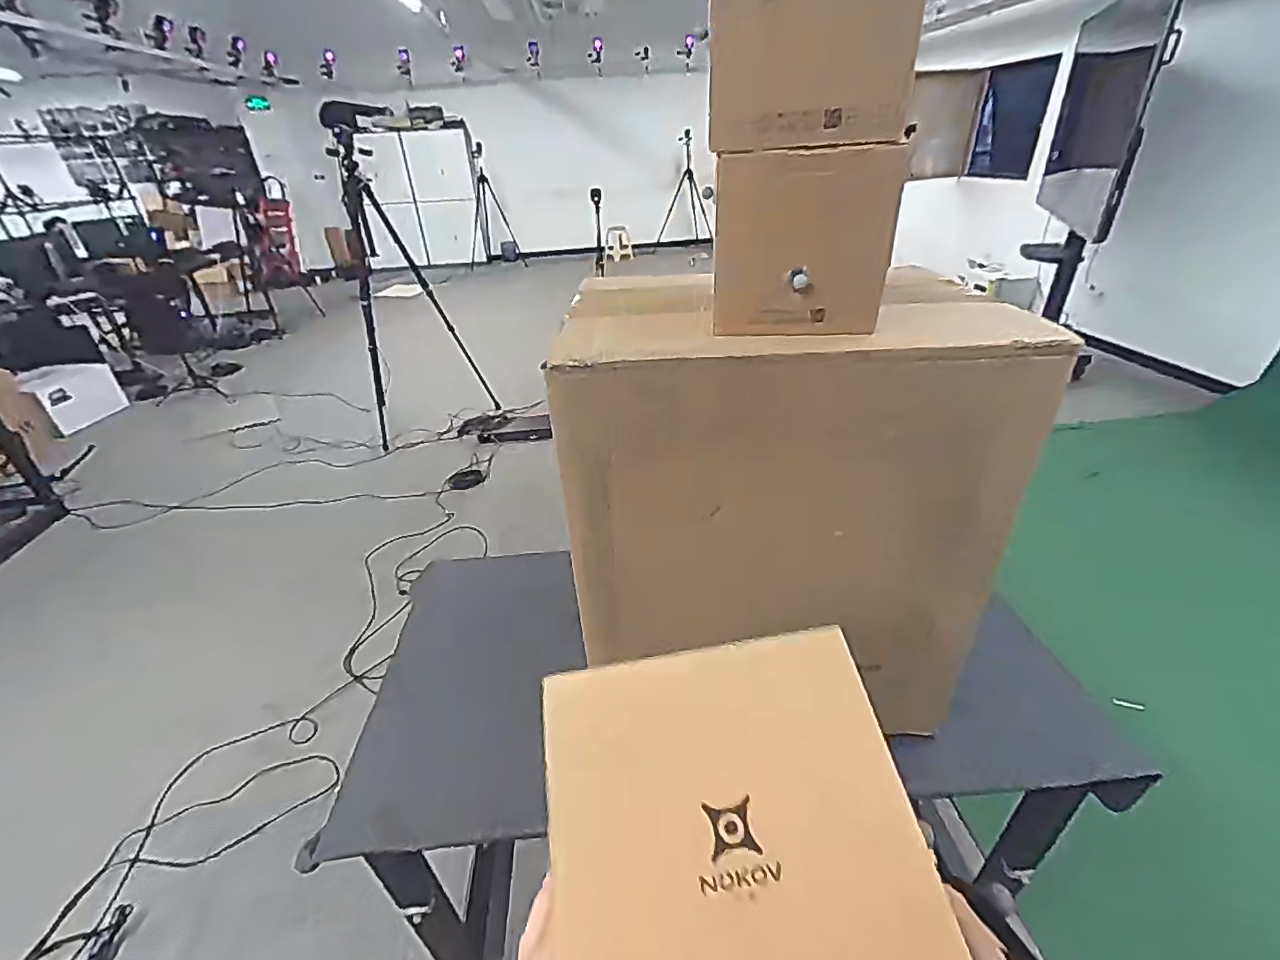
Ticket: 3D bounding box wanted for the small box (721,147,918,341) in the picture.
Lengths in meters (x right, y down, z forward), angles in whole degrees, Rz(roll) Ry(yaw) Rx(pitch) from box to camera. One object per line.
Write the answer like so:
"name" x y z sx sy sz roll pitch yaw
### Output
"small box" 0.177 -0.264 0.597 0.168 0.176 0.179 2 34 7
